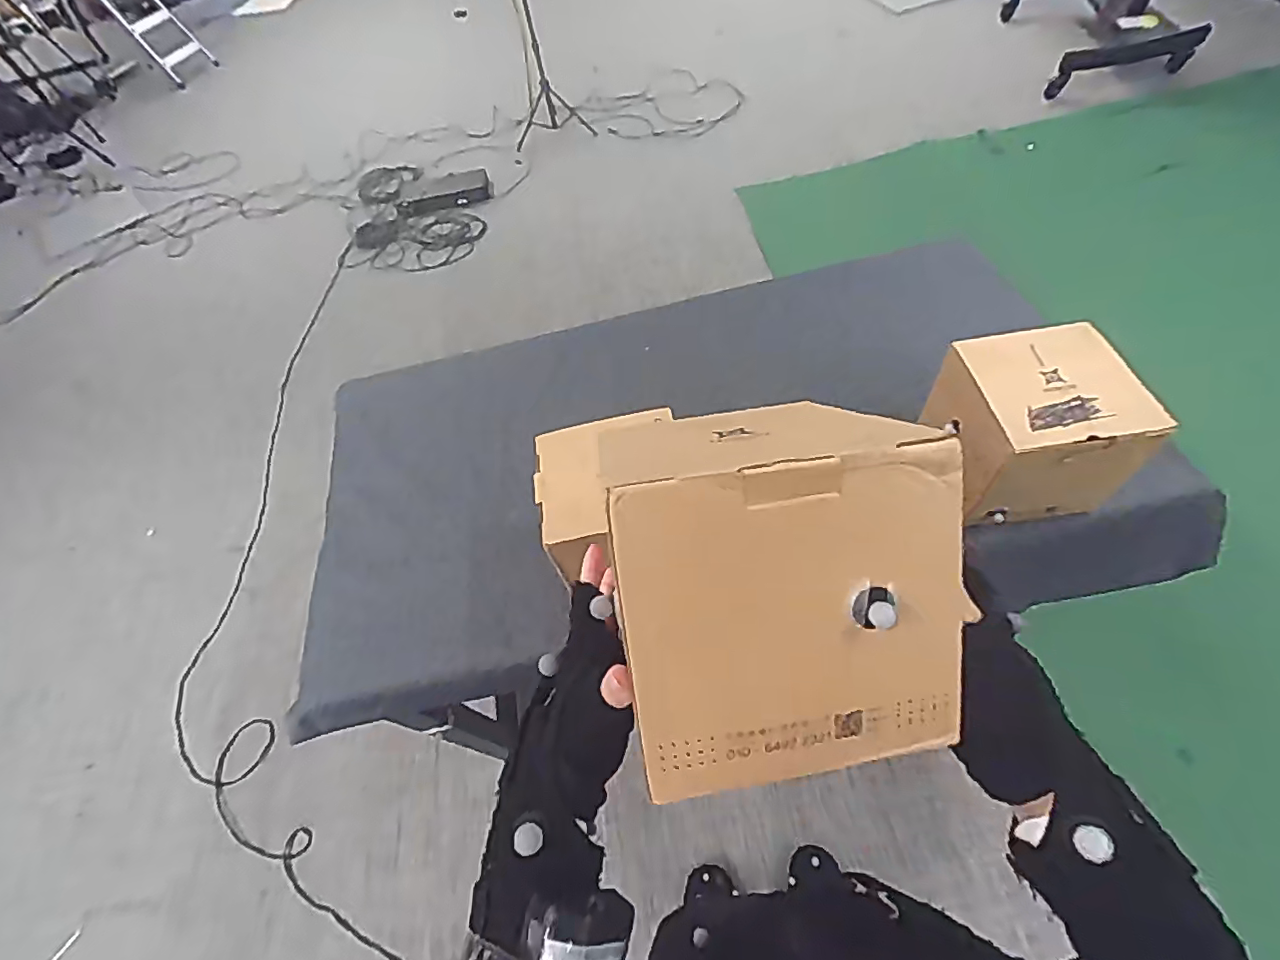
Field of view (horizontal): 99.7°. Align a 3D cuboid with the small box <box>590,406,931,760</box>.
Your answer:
[{"bbox_3d":[0.062,0.053,0.349,0.168,0.176,0.179,-8,12,-5],"label":"small box"}]

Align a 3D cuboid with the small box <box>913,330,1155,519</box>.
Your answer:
[{"bbox_3d":[0.480,-0.061,0.697,0.168,0.176,0.179,-7,55,5],"label":"small box"}]

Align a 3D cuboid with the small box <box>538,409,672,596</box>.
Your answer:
[{"bbox_3d":[-0.025,0.036,0.710,0.179,0.176,0.168,-12,54,1],"label":"small box"}]
